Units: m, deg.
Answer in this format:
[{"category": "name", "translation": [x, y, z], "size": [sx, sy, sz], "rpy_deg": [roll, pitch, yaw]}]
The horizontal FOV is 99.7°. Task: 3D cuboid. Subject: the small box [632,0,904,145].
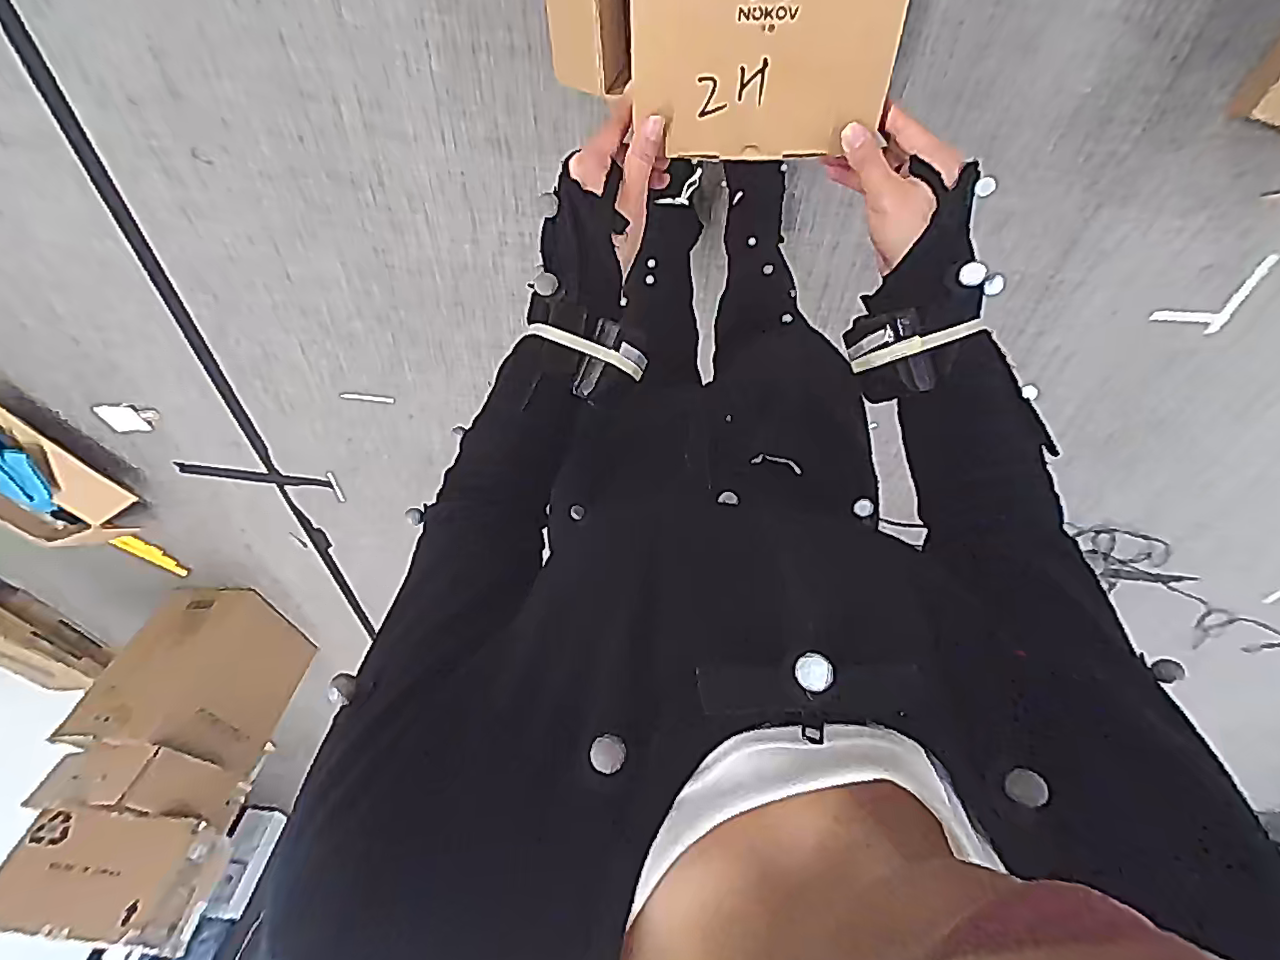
[{"category": "small box", "translation": [0.079, -0.350, 0.374], "size": [0.168, 0.176, 0.179], "rpy_deg": [1, 133, 3]}]
